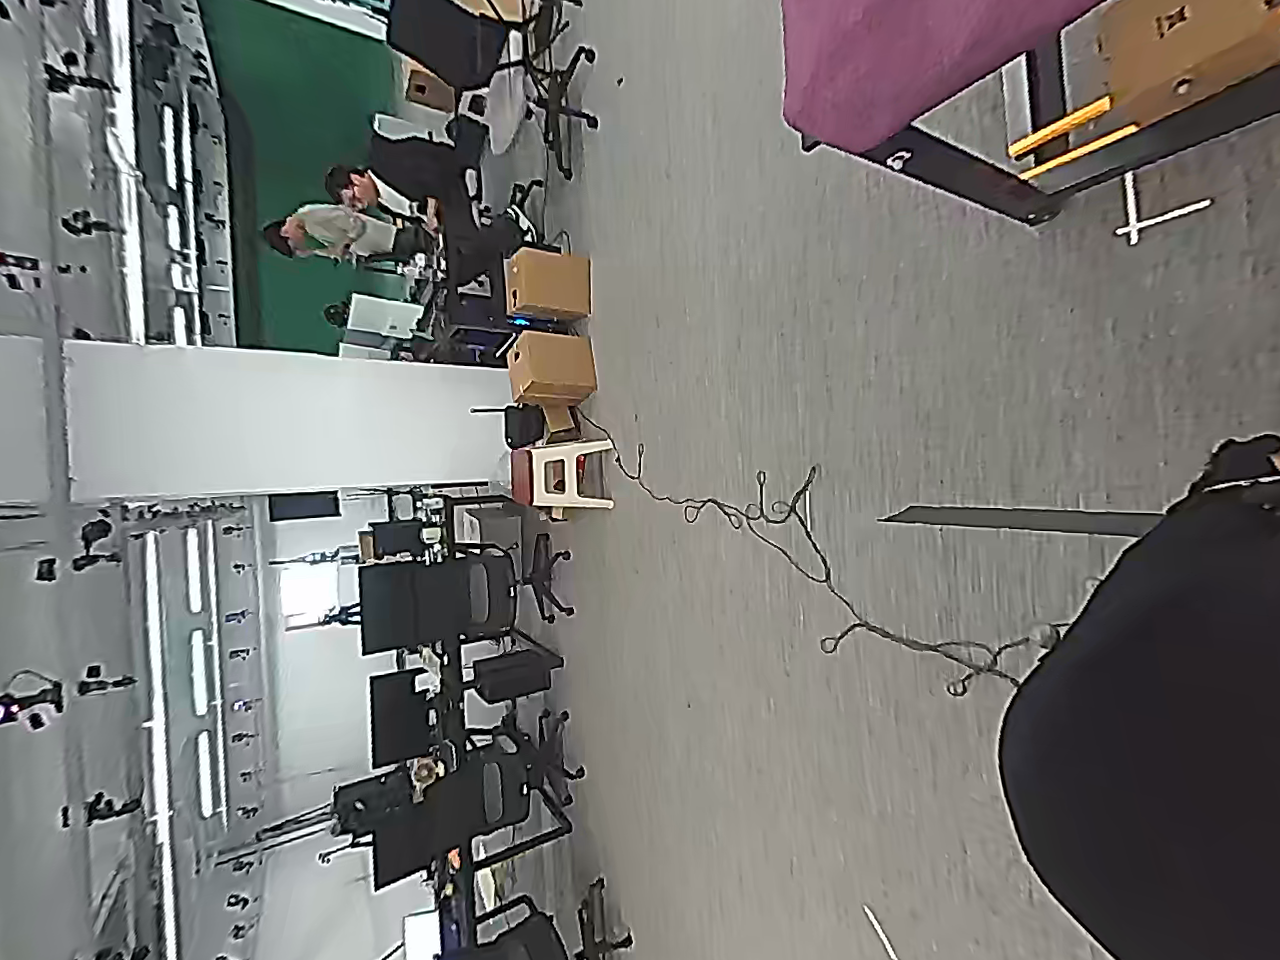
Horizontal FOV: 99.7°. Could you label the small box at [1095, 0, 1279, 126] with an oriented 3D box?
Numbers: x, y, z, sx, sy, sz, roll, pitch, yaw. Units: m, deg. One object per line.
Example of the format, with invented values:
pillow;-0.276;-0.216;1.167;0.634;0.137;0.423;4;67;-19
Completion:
small box;0.877;-0.711;0.861;0.179;0.176;0.168;-12;85;60
